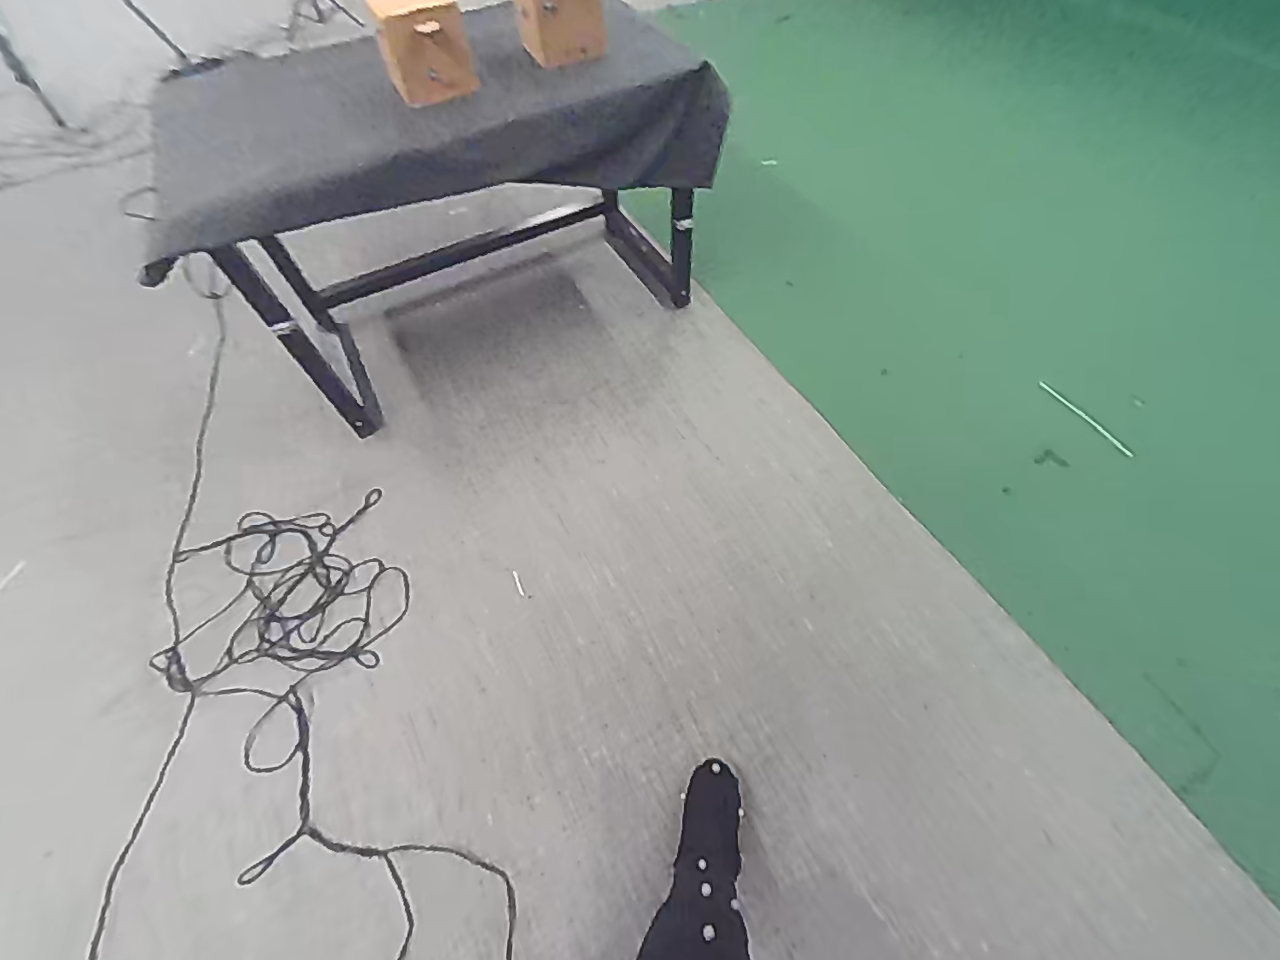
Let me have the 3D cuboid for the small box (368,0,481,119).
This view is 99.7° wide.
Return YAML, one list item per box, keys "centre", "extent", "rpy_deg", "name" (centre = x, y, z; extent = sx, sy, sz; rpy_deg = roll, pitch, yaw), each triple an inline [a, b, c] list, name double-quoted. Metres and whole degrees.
- centre: [-0.482, -0.956, 1.225]
  extent: [0.168, 0.176, 0.179]
  rpy_deg: [-26, 60, -14]
  name: "small box"
